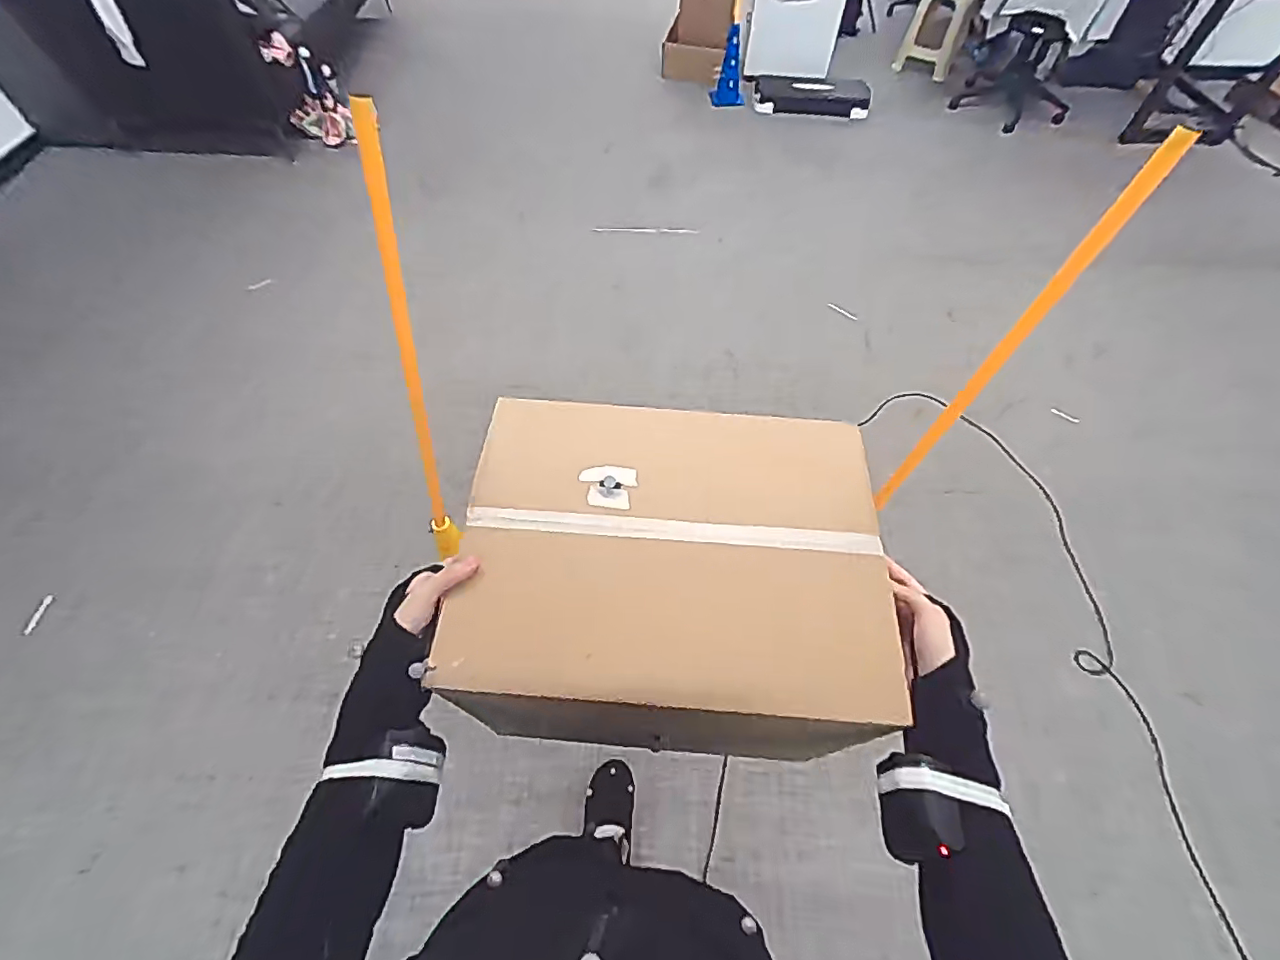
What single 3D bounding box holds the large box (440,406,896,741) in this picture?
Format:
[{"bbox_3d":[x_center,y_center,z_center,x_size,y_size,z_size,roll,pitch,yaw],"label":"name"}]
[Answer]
[{"bbox_3d":[0.033,0.132,0.668,0.408,0.320,0.320,4,58,2],"label":"large box"}]
